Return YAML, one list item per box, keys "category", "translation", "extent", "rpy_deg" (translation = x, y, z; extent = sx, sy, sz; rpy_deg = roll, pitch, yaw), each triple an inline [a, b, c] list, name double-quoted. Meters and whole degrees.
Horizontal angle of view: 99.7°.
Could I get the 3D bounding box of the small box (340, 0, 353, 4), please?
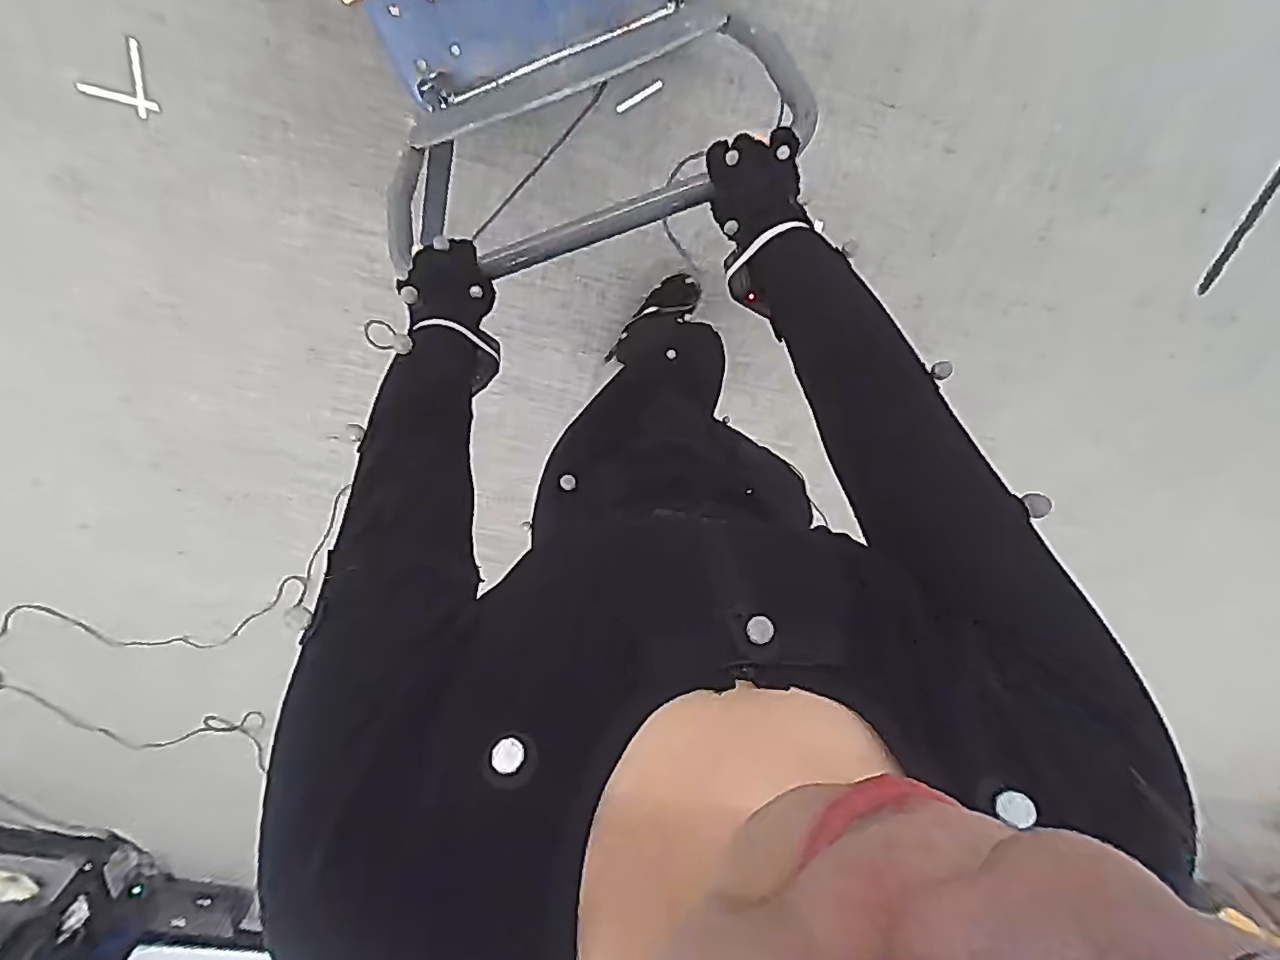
- category: "small box"
  translation: [-0.395, -0.833, 0.783]
  extent: [0.179, 0.176, 0.168]
  rpy_deg: [-21, 135, 8]
